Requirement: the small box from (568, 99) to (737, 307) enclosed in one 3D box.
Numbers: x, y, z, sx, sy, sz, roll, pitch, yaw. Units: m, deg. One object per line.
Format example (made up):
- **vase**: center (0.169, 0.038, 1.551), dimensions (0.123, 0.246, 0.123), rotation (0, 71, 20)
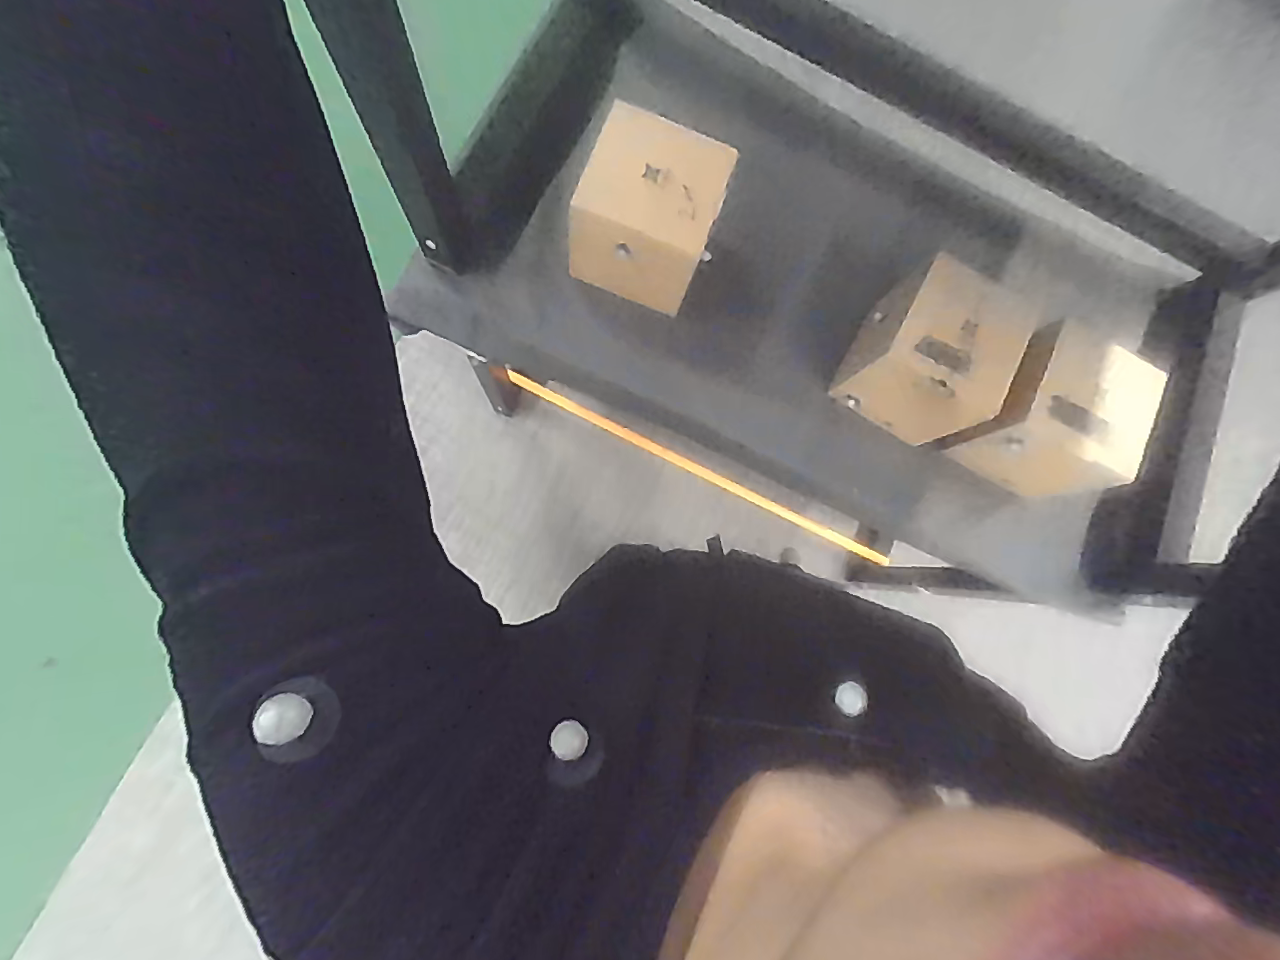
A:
- **small box**: center (0.008, -0.372, 0.760), dimensions (0.179, 0.176, 0.168), rotation (22, 80, -4)
